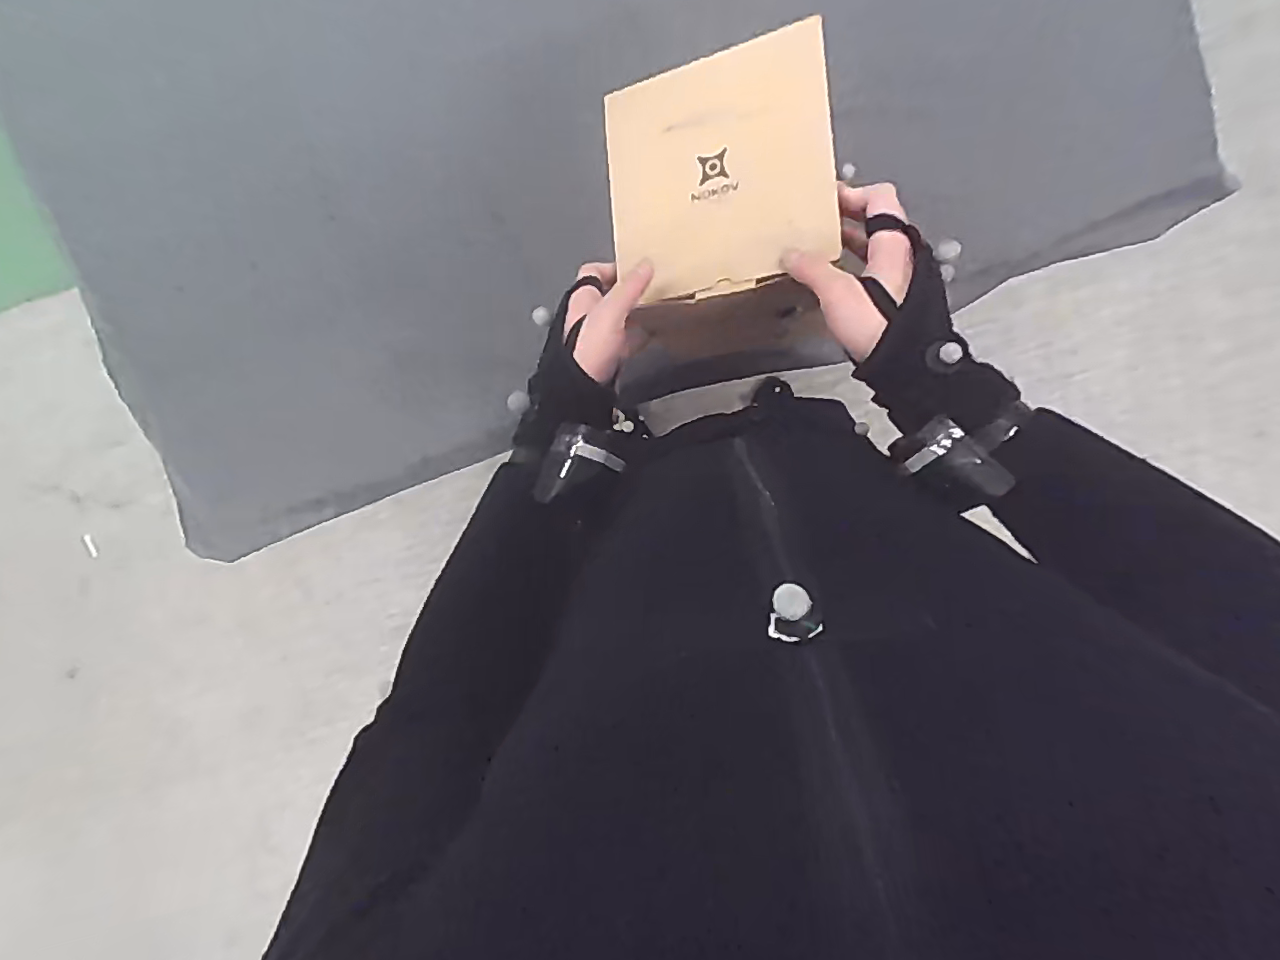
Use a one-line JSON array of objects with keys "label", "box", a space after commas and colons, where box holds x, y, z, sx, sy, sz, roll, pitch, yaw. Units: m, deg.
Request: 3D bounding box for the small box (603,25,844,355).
[{"label": "small box", "box": [0.081, -0.216, 0.465, 0.168, 0.176, 0.179, -6, 86, 20]}]
